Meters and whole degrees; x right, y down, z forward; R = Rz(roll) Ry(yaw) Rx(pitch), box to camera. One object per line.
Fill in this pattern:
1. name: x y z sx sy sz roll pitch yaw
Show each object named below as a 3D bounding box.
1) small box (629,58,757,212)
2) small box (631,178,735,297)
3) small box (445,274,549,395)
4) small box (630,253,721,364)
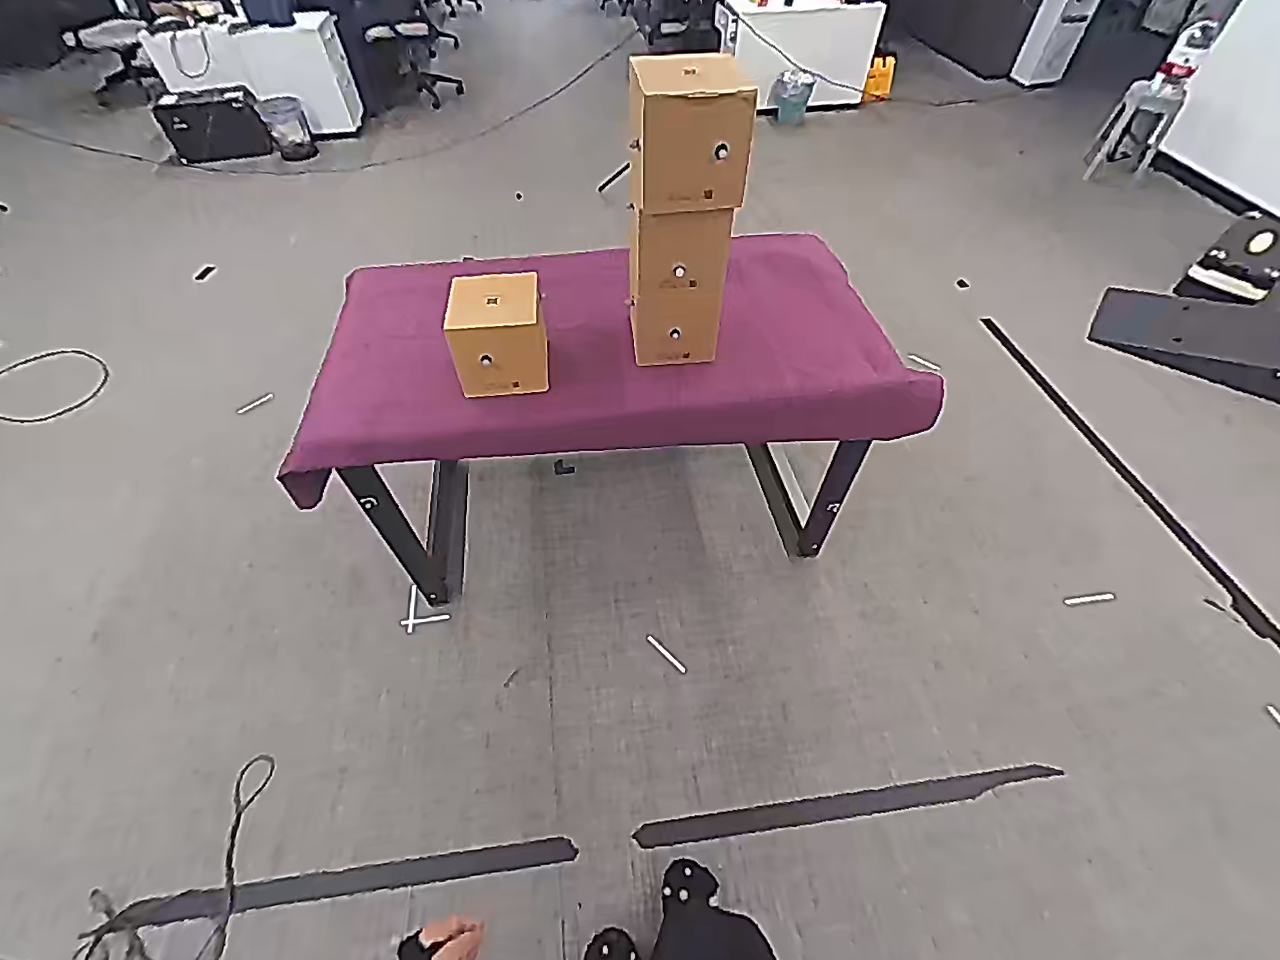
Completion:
1. small box: 0.076 -0.547 0.867 0.168 0.176 0.179 -6 51 -6
2. small box: 0.071 -0.463 1.007 0.168 0.176 0.179 -4 52 -3
3. small box: -0.274 -0.282 1.074 0.168 0.176 0.179 -5 51 -5
4. small box: 0.068 -0.358 1.133 0.168 0.176 0.179 -4 51 -4
